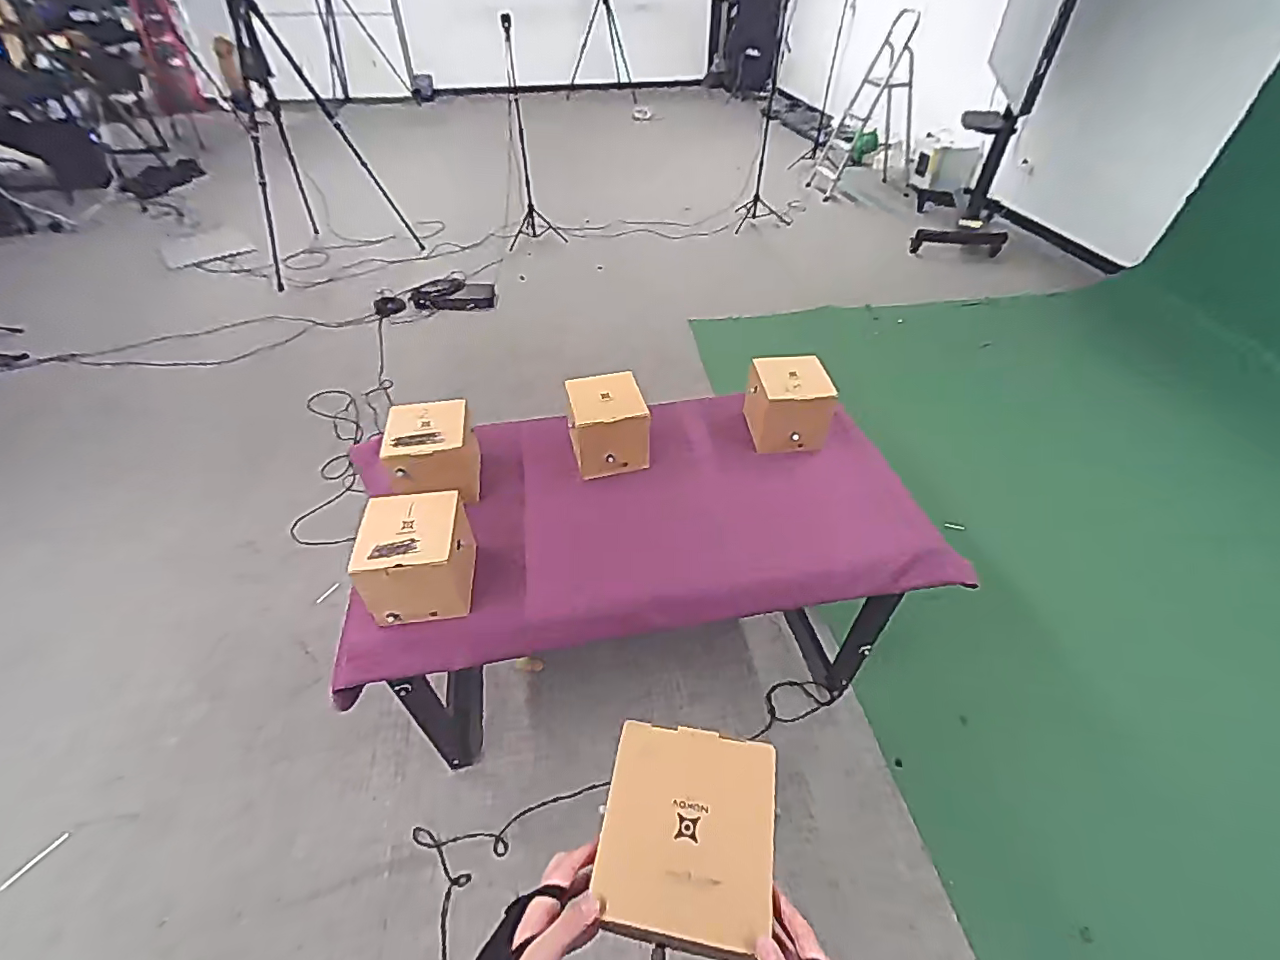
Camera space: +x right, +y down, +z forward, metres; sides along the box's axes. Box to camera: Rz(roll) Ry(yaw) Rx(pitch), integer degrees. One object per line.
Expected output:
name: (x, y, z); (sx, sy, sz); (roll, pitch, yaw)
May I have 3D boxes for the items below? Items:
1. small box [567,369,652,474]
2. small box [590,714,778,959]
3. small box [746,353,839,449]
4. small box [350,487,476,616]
small box: (-0.076, -0.140, 1.293); (0.168, 0.176, 0.179); (-11, 48, -11)
small box: (0.054, 0.384, 0.584); (0.168, 0.176, 0.179); (5, 47, 10)
small box: (0.369, -0.198, 1.348); (0.168, 0.176, 0.179); (-4, 46, -3)
small box: (-0.409, 0.138, 1.010); (0.168, 0.176, 0.179); (-5, 44, -6)
